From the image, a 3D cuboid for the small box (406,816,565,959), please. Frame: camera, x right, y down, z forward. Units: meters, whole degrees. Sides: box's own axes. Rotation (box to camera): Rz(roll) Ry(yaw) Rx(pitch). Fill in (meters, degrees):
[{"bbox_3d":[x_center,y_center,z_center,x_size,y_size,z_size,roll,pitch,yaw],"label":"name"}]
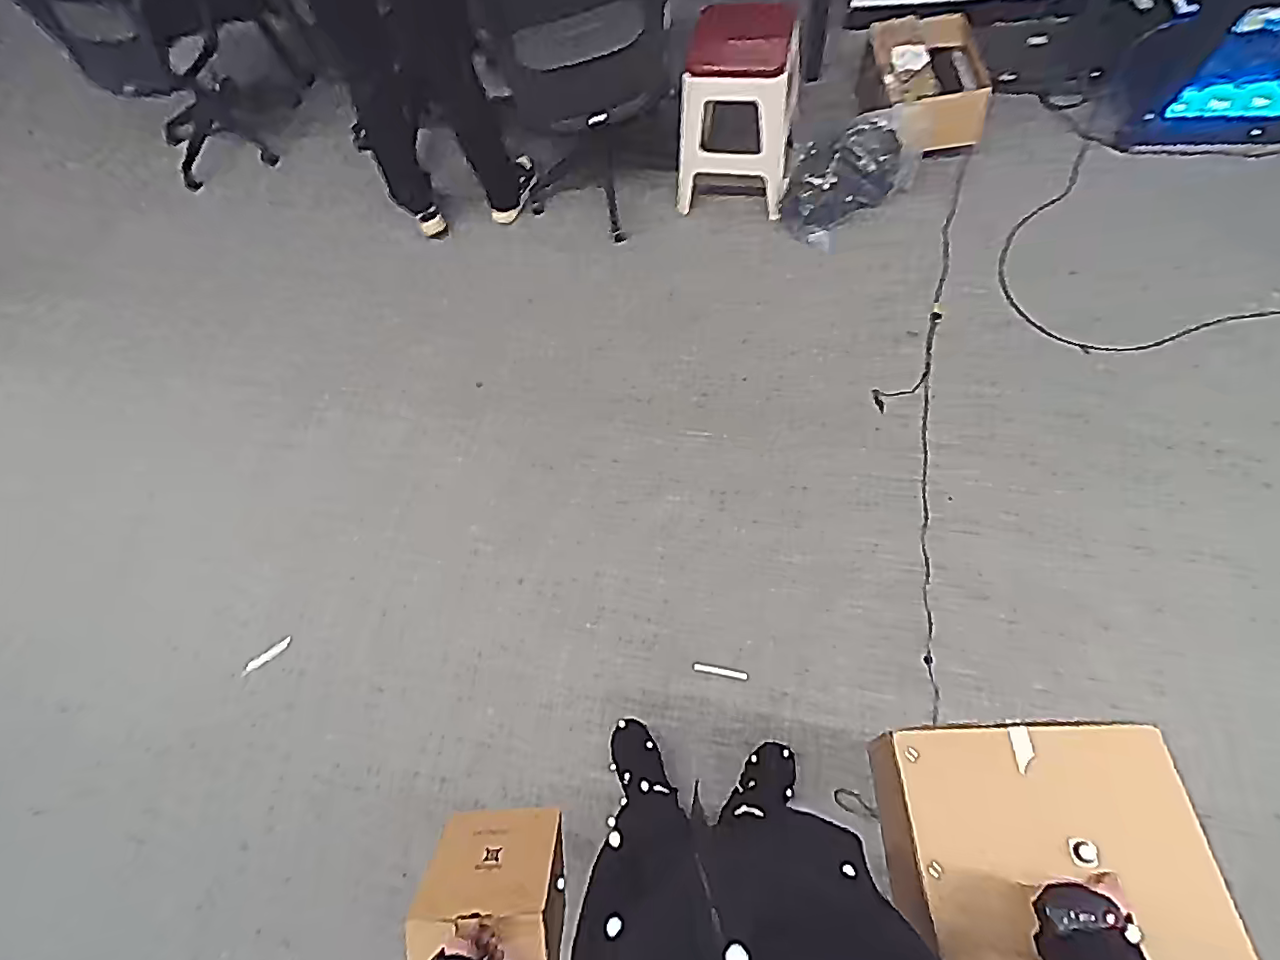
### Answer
[{"bbox_3d":[-0.192,0.594,0.727,0.168,0.179,0.176,-2,95,-2],"label":"small box"}]
